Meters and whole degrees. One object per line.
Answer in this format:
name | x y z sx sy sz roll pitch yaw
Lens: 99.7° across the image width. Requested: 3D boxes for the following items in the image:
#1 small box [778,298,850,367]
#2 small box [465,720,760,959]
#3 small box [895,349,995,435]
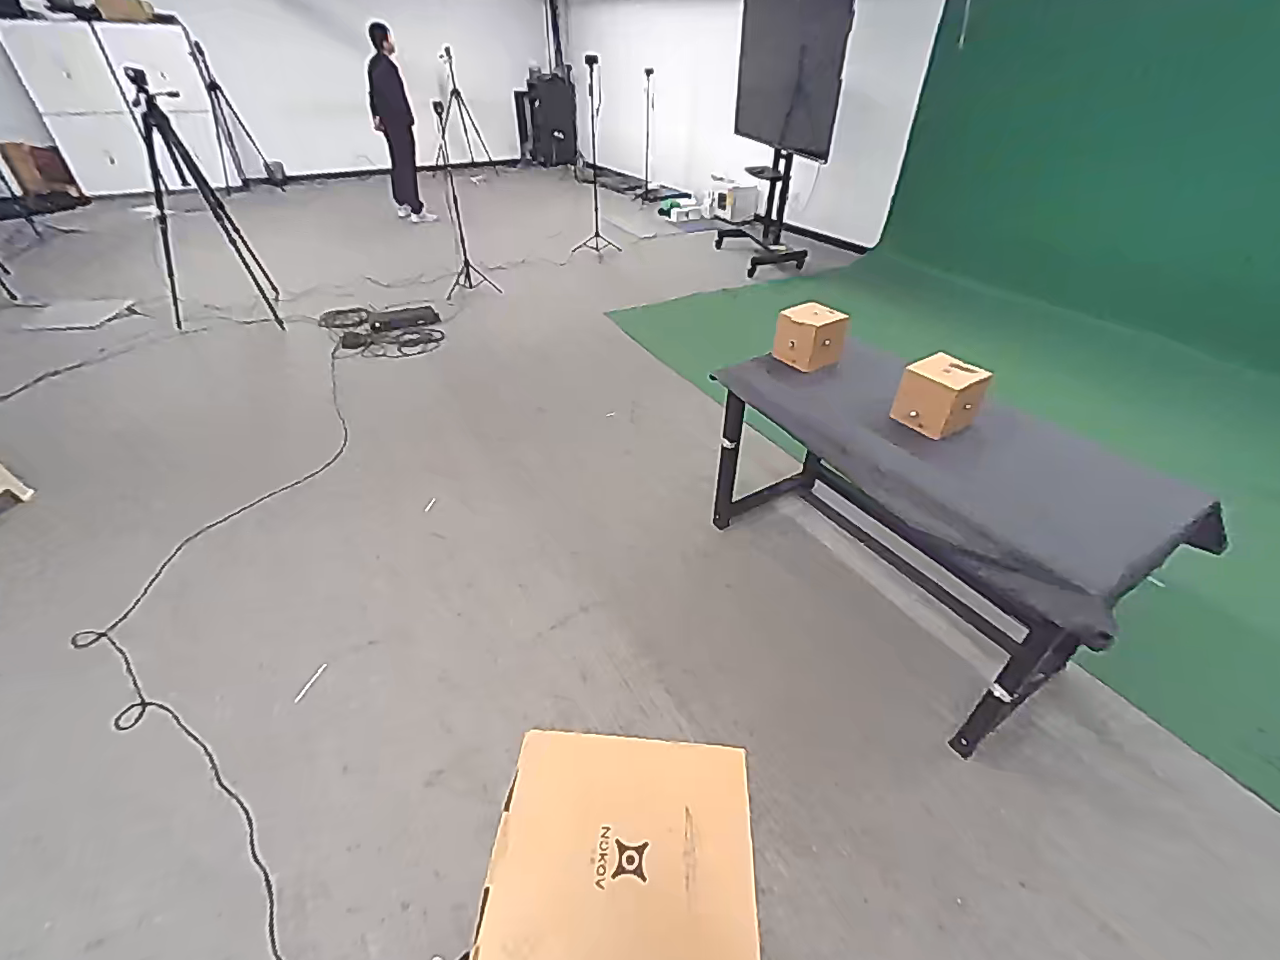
small box | 0.603 -0.517 1.903 0.179 0.176 0.168 -24 45 -27
small box | -0.015 0.308 0.412 0.179 0.176 0.168 4 40 1
small box | 0.878 -0.258 1.576 0.179 0.176 0.168 -23 44 -25
